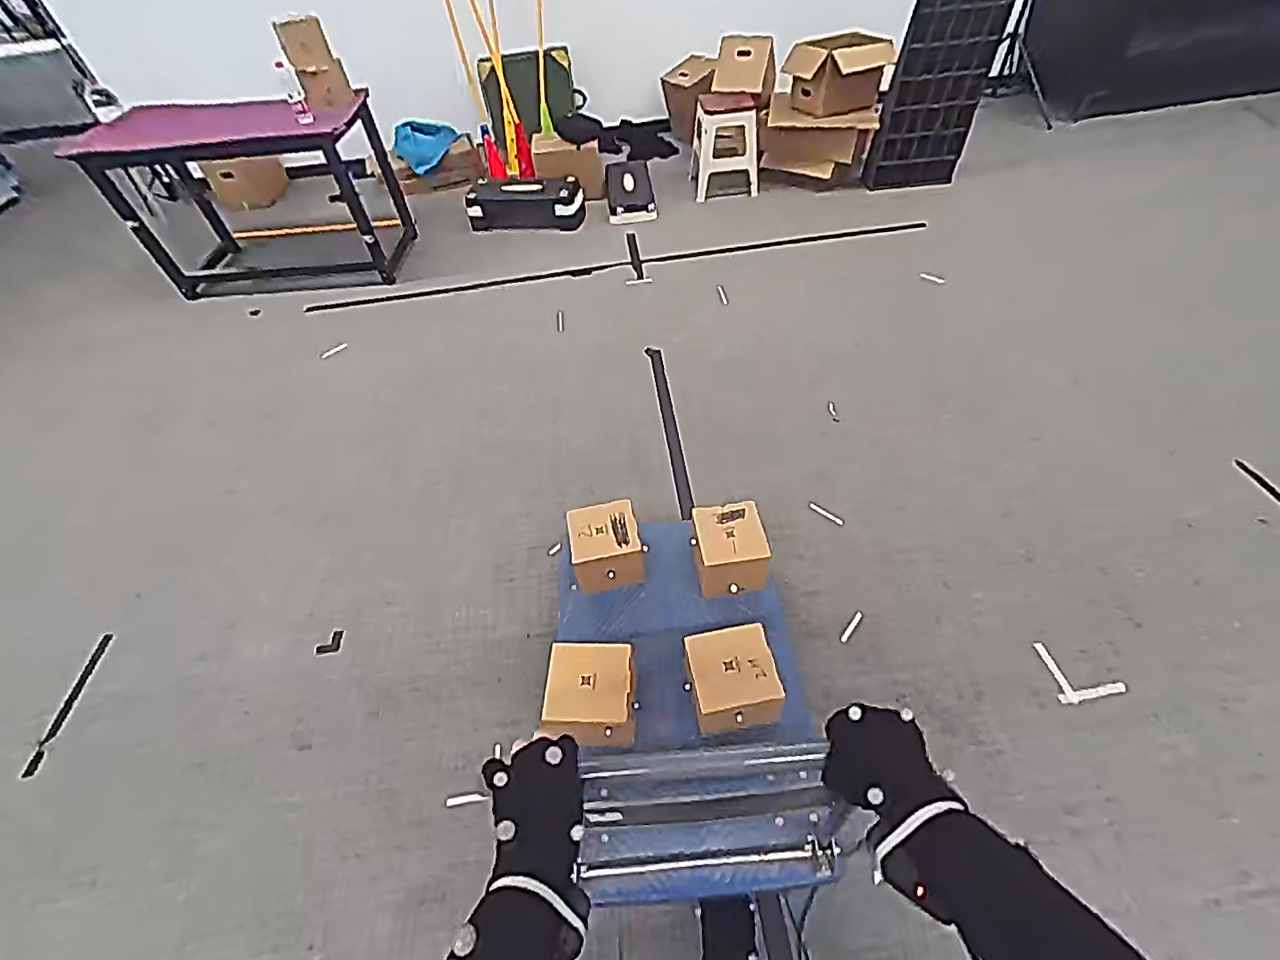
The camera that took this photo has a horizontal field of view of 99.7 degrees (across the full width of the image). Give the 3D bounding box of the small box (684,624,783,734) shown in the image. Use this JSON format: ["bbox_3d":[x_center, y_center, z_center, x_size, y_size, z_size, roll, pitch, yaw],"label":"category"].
[{"bbox_3d":[0.201,0.445,1.199,0.179,0.176,0.168,-10,49,-3],"label":"small box"}]

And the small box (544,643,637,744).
[{"bbox_3d":[-0.102,0.477,1.204,0.179,0.176,0.168,0,49,4],"label":"small box"}]

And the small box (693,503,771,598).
[{"bbox_3d":[0.233,0.186,1.418,0.168,0.176,0.179,-8,50,-1],"label":"small box"}]
